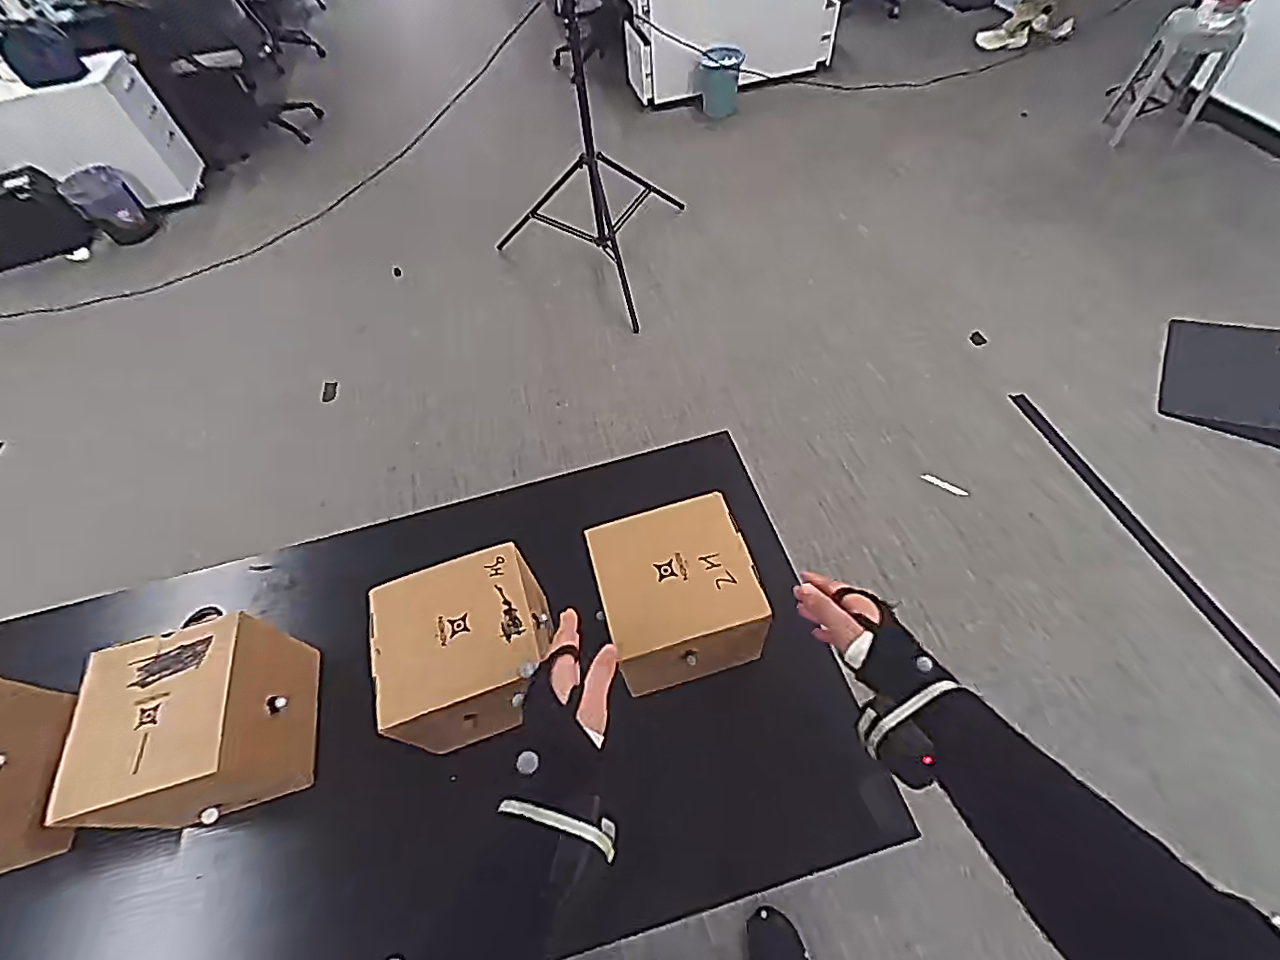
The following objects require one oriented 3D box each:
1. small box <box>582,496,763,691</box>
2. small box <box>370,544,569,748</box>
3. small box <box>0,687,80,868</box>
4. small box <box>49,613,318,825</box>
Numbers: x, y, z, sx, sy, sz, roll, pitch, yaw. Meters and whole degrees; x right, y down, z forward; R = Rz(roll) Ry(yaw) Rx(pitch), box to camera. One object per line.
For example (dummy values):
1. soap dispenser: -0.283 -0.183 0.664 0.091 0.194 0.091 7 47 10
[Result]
1. small box: 0.039 0.150 0.685 0.179 0.176 0.168 -15 57 -5
2. small box: -0.204 0.210 0.668 0.179 0.176 0.168 -19 57 -7
3. small box: -0.790 0.356 0.624 0.168 0.176 0.179 -16 56 -7
4. small box: -0.512 0.288 0.644 0.168 0.176 0.179 -16 57 -5
